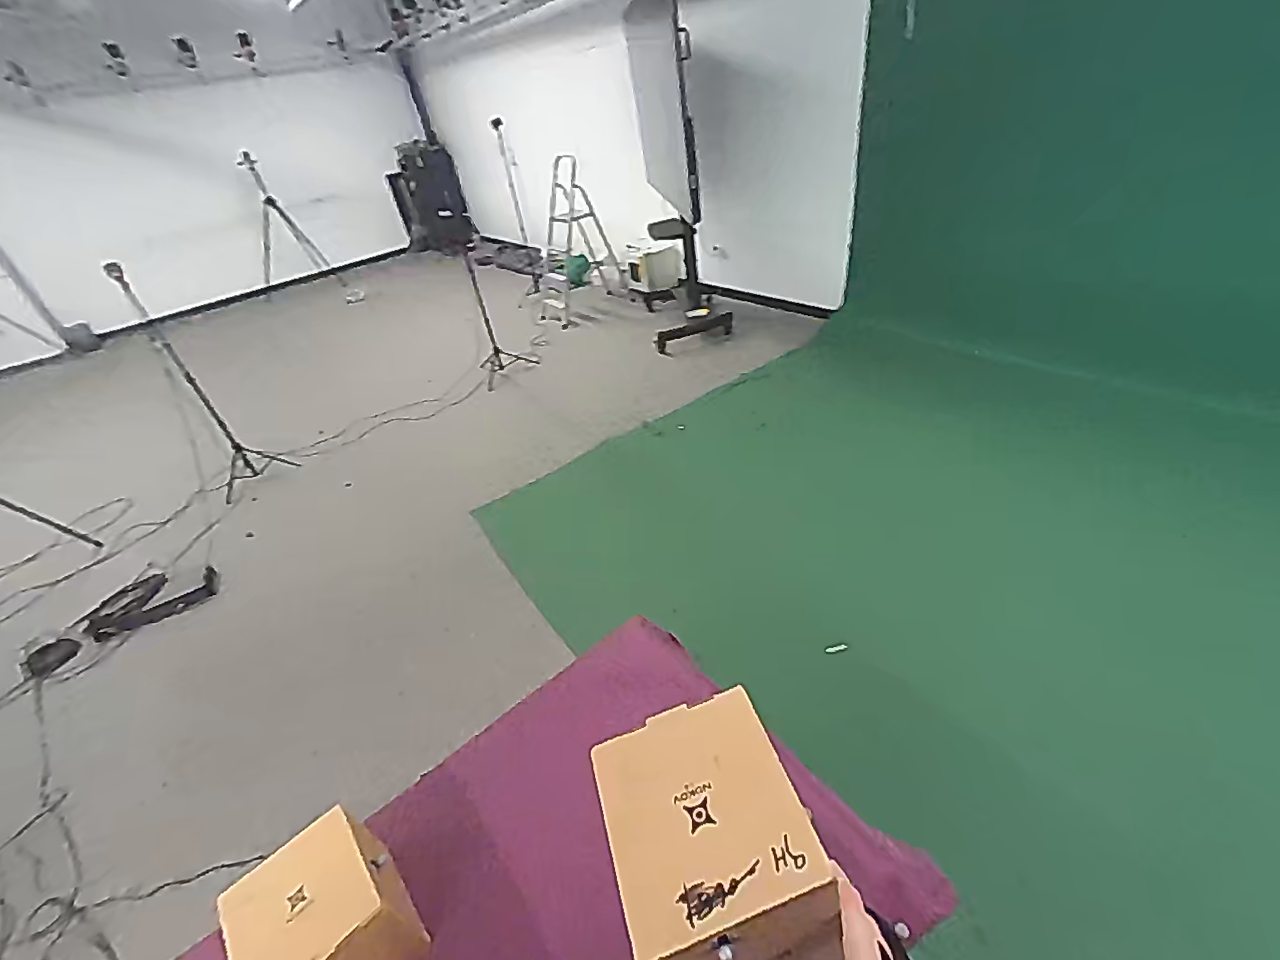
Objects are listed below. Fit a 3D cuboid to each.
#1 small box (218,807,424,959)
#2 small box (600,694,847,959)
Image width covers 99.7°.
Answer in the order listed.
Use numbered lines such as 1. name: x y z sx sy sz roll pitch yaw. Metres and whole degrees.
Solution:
1. small box: -0.427 0.606 0.737 0.168 0.176 0.179 -33 43 -29
2. small box: 0.076 0.346 0.512 0.168 0.176 0.179 -21 37 -3
